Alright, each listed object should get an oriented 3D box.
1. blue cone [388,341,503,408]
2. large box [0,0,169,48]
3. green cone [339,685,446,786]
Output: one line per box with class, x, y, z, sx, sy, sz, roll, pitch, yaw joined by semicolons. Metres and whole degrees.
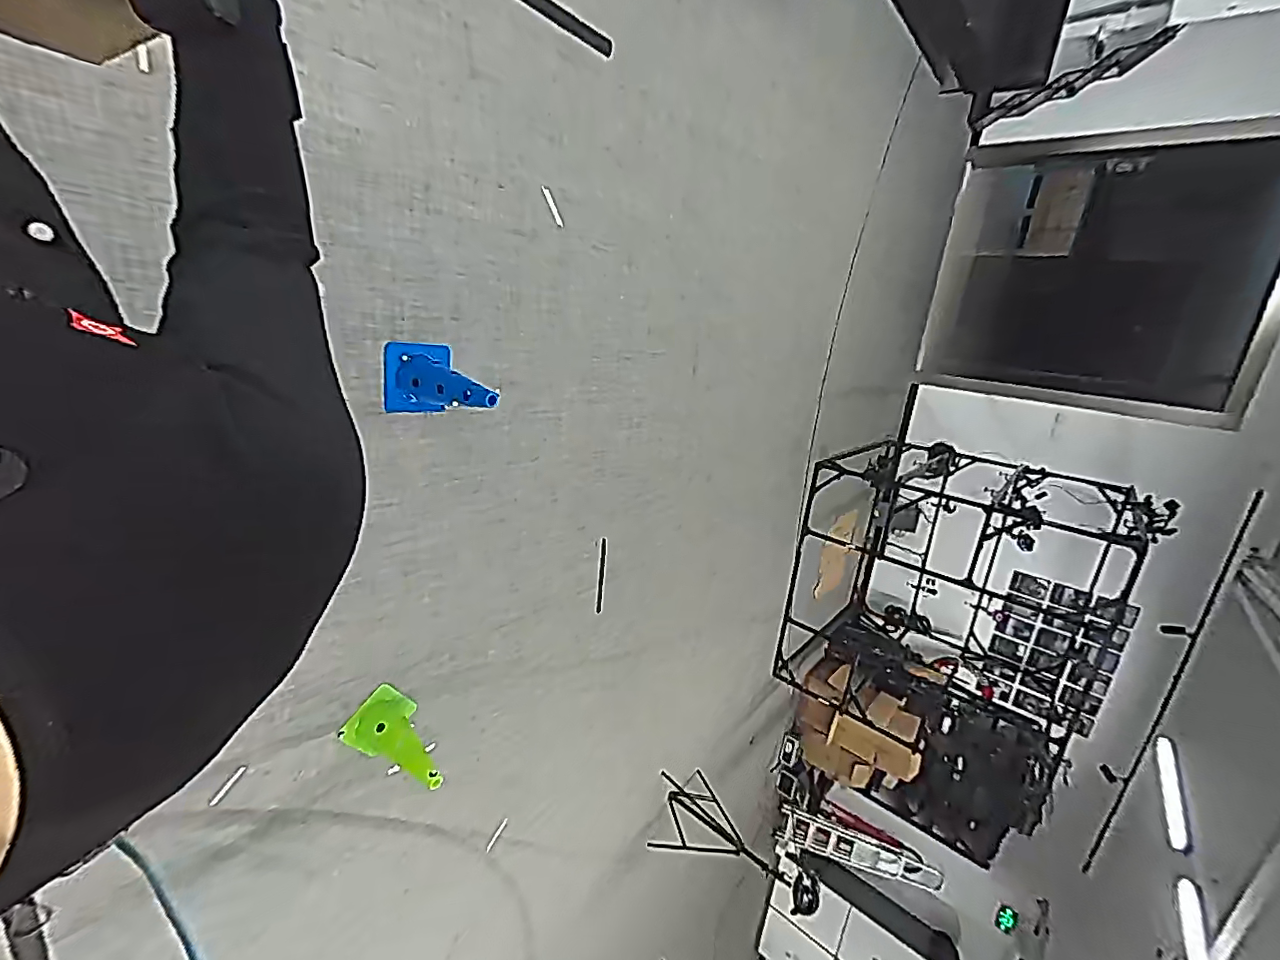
blue cone;-0.516;-0.263;1.483;0.192;0.380;0.193;-10;113;-52
large box;-0.521;-0.489;0.252;0.408;0.320;0.320;-12;119;-52
green cone;-0.722;0.833;1.675;0.202;0.368;0.200;-52;141;-26
